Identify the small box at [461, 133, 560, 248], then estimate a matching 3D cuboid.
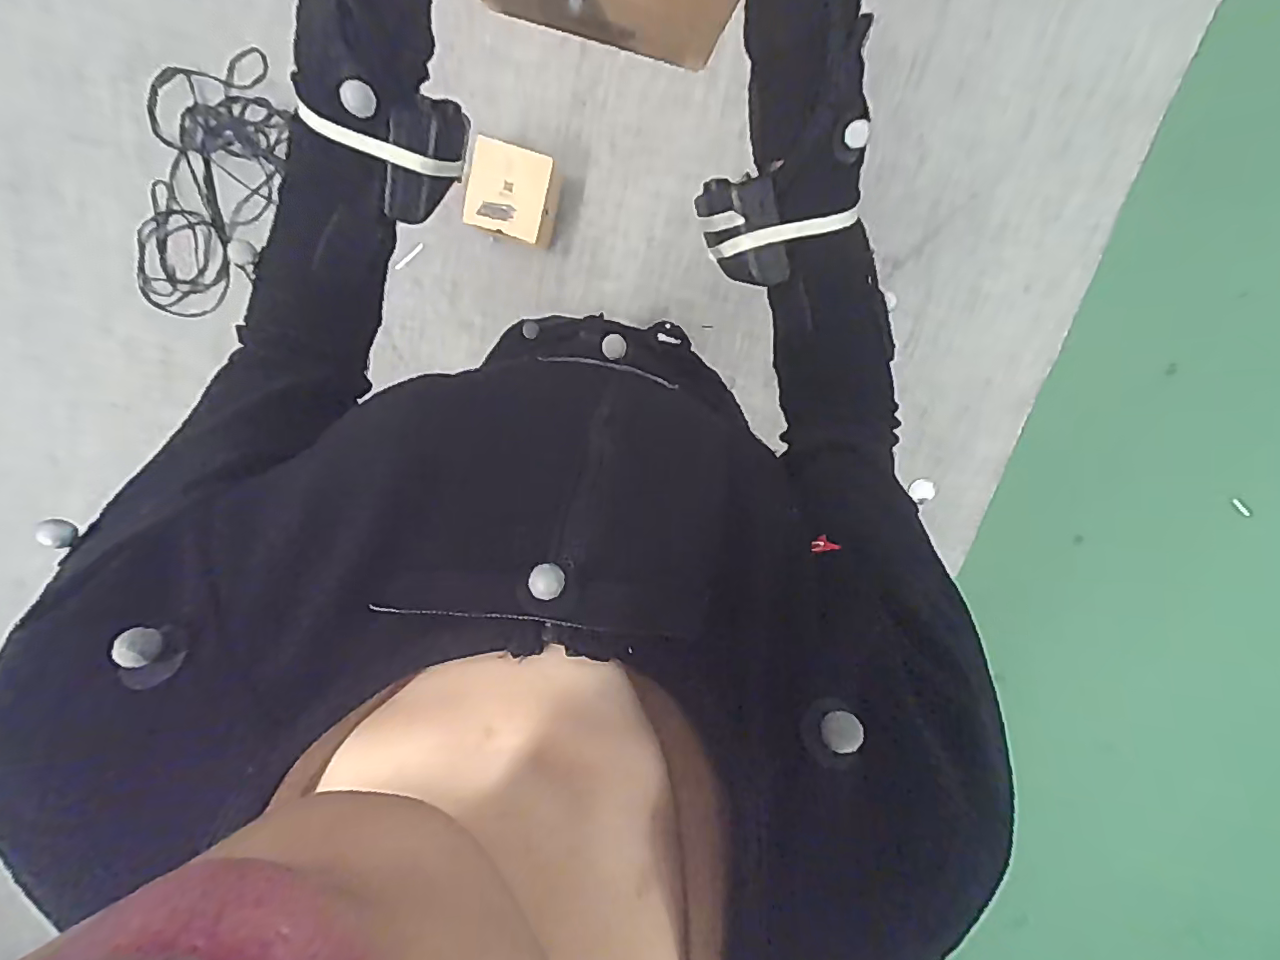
[{"bbox_3d":[-0.286,-0.643,1.227,0.168,0.176,0.179,15,106,-5],"label":"small box"}]
